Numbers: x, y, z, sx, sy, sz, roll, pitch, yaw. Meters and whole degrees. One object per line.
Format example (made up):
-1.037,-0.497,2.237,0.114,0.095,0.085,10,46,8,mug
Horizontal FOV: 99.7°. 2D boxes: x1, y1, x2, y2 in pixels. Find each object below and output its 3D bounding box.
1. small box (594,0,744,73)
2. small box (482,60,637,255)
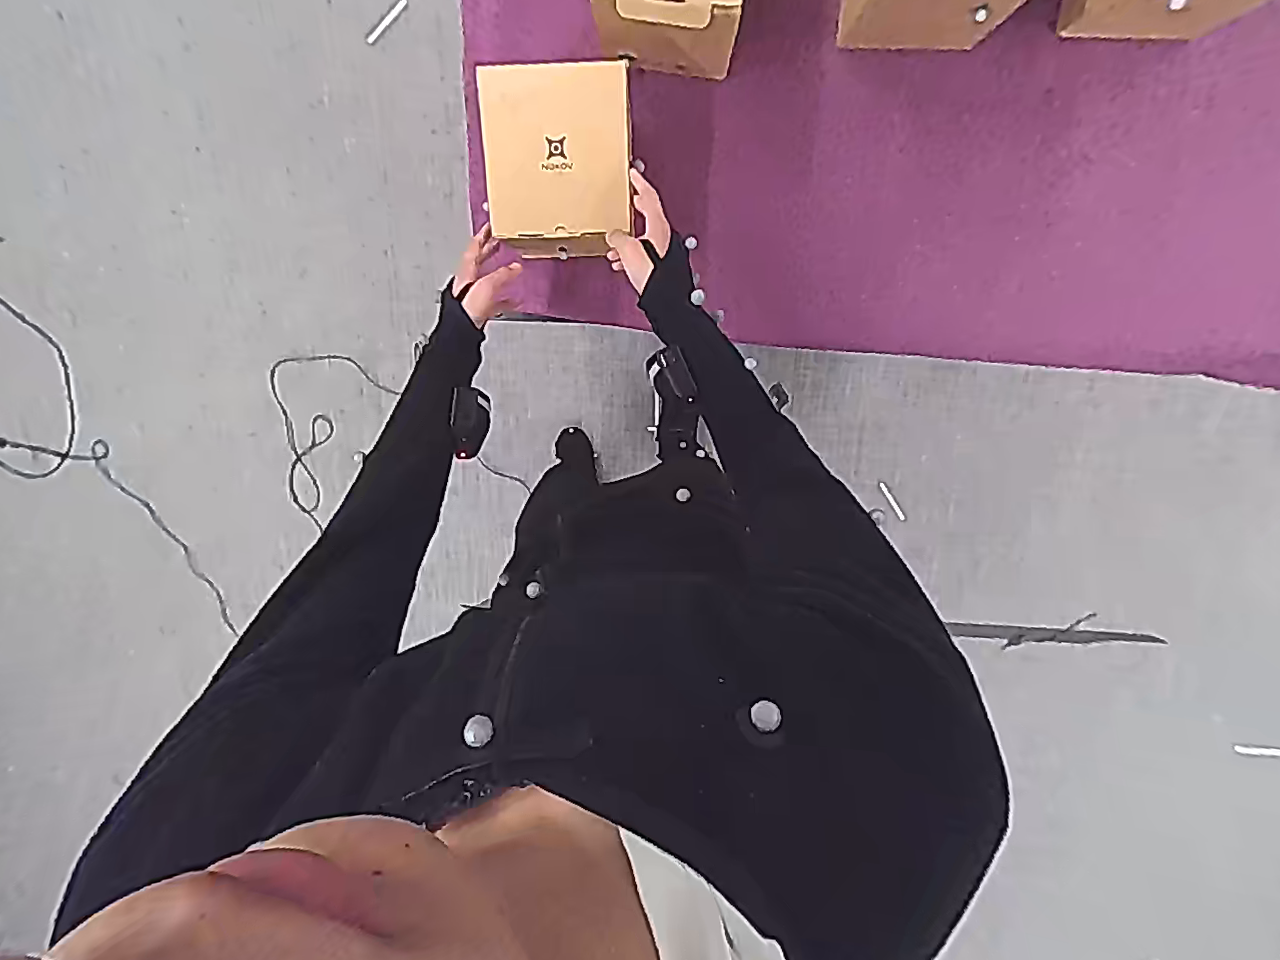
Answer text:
0.045,-0.607,0.619,0.168,0.176,0.179,8,106,0,small box
-0.089,-0.390,0.683,0.168,0.176,0.179,-2,107,1,small box
